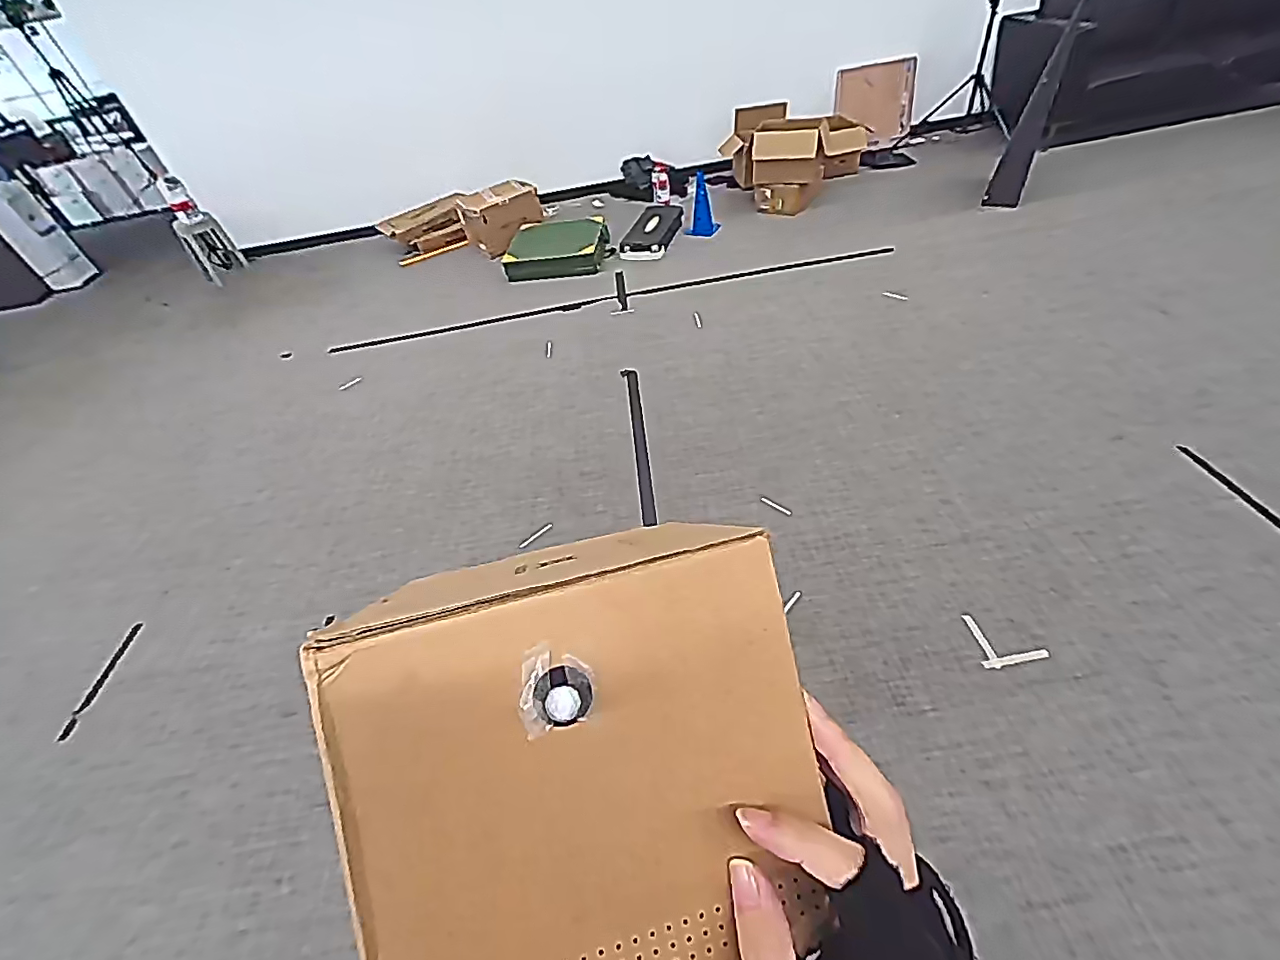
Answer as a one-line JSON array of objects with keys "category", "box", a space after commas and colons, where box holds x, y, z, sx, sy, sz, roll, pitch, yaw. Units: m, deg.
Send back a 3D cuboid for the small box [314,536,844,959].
[{"category": "small box", "box": [-0.026, 0.131, 0.276, 0.179, 0.168, 0.176, -12, 89, -10]}]
